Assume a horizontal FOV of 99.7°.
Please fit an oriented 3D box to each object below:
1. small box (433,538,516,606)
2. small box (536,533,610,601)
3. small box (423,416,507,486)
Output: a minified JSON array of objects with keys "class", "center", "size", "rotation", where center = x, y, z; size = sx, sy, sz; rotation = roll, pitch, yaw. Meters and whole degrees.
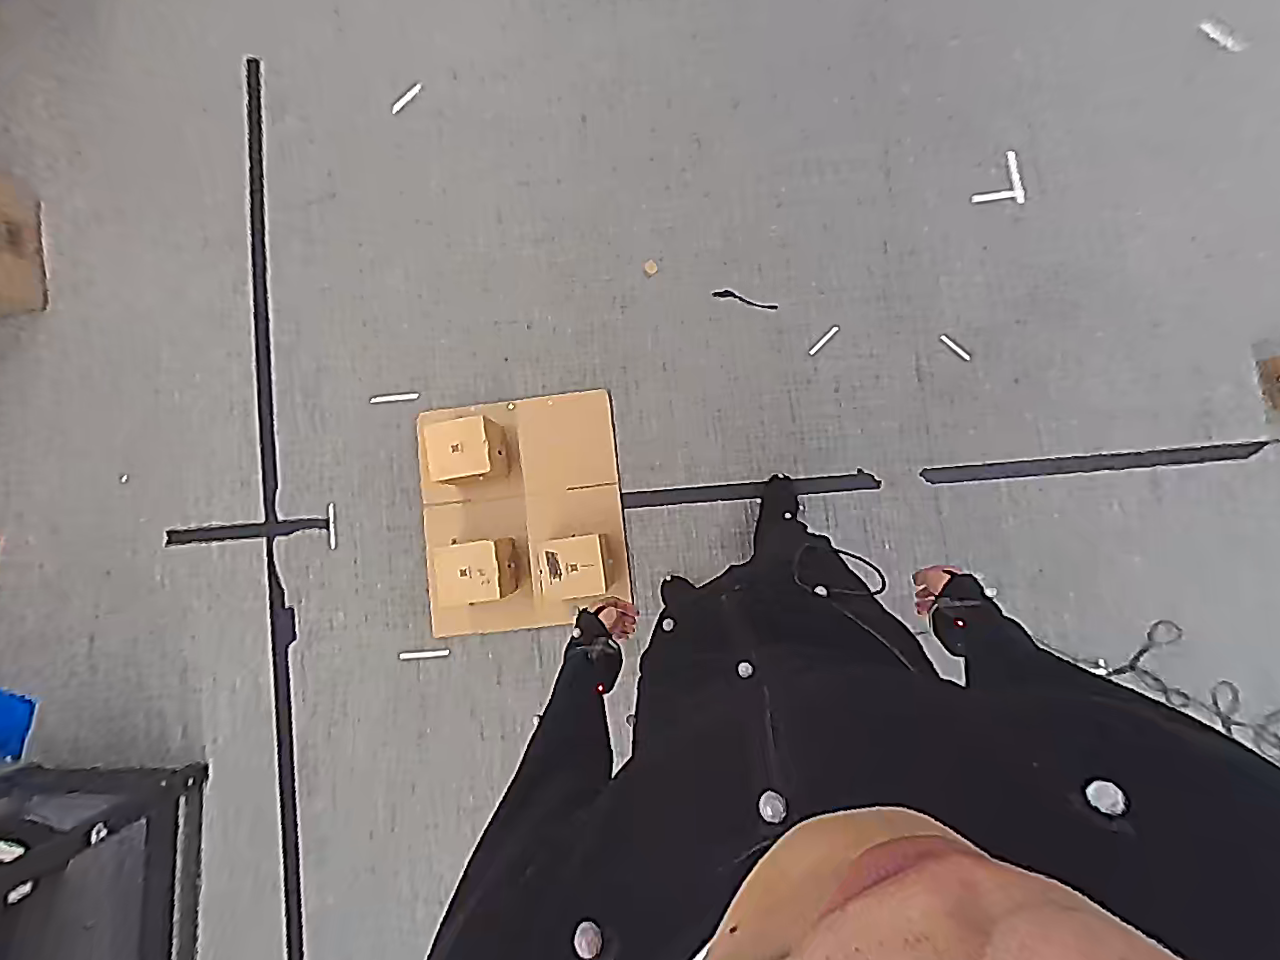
[{"class":"small box","center":[-0.471,0.260,1.552],"size":[0.179,0.176,0.168],"rotation":[-7,86,1]},{"class":"small box","center":[-0.187,0.244,1.543],"size":[0.179,0.176,0.168],"rotation":[-8,86,0]},{"class":"small box","center":[-0.509,-0.080,1.587],"size":[0.179,0.176,0.168],"rotation":[-11,85,1]}]
